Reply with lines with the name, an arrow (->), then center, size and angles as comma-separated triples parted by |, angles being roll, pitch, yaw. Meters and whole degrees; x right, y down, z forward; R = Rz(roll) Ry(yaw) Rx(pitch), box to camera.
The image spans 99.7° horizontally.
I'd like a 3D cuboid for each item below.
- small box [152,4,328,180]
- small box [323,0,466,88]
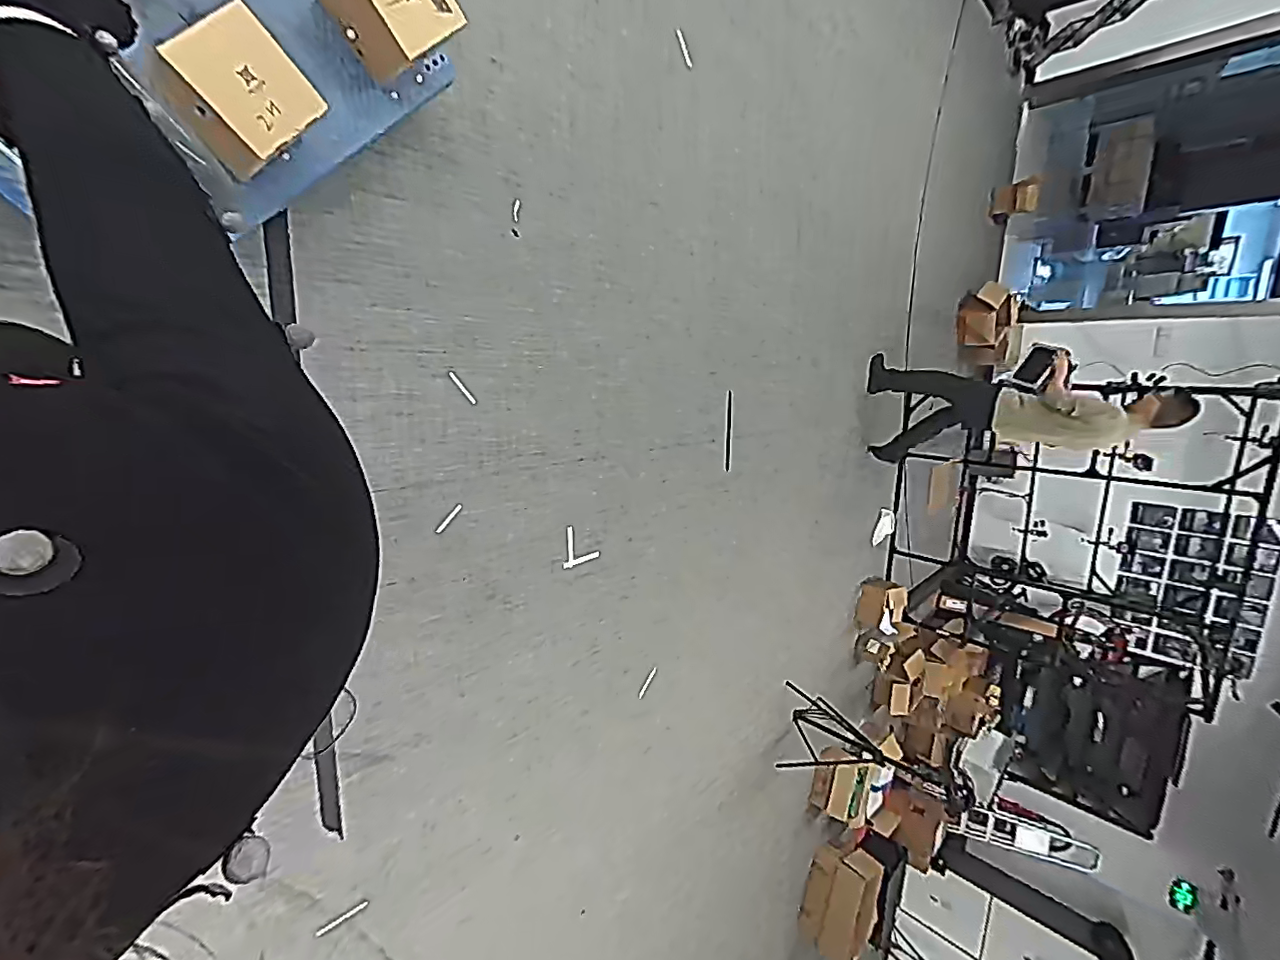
small box -> -0.703, -0.667, 0.950 | 0.168, 0.176, 0.179 | -57, 133, -21
small box -> -0.502, -0.947, 1.100 | 0.179, 0.176, 0.168 | -54, 132, -22
